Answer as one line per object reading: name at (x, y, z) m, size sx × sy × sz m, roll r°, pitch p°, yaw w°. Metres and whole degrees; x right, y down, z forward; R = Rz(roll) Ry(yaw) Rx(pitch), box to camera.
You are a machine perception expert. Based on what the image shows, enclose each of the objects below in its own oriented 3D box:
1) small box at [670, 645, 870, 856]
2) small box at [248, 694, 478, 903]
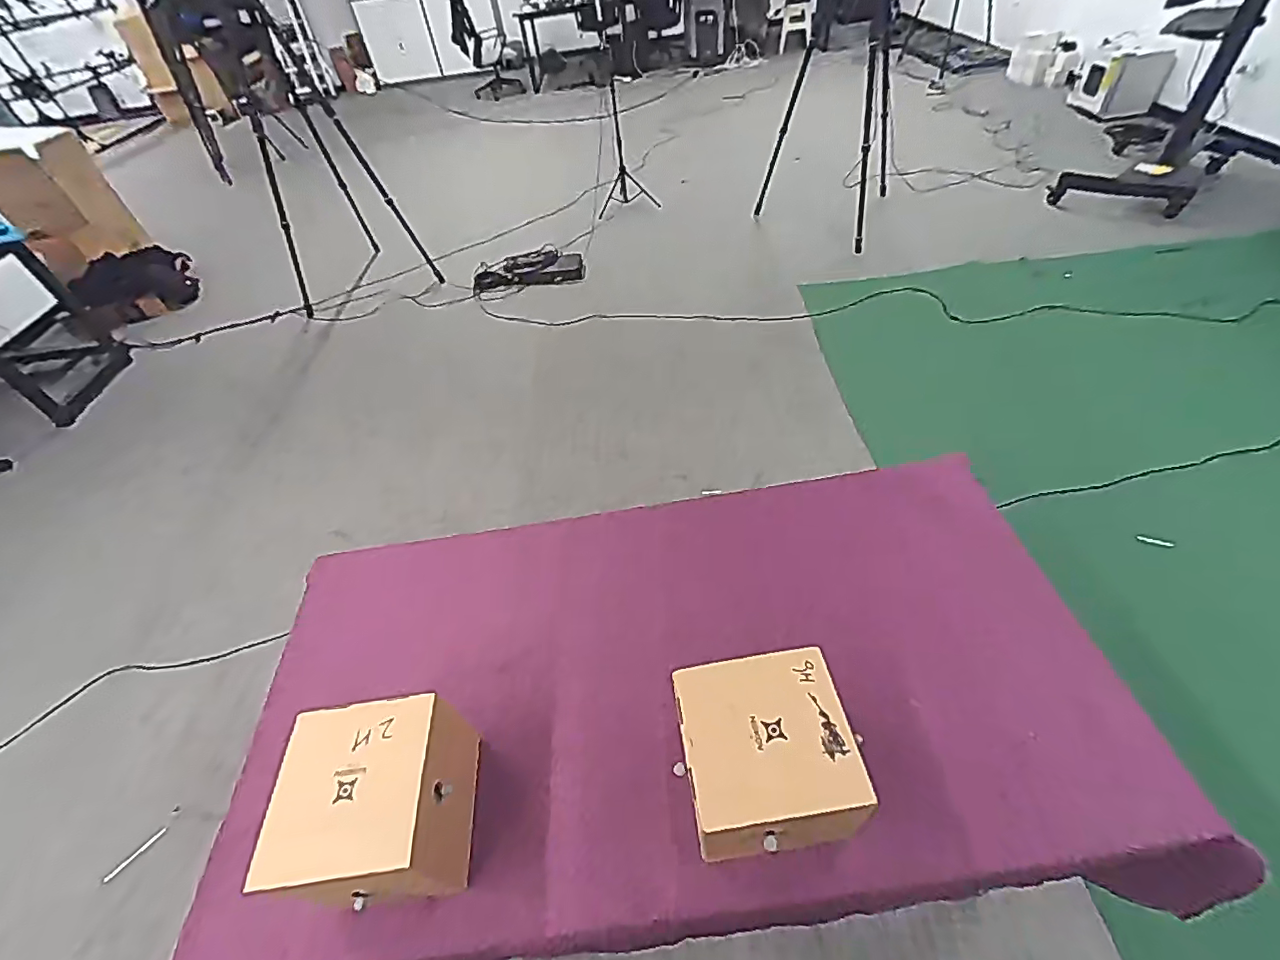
small box at (0.140, 0.318, 0.630) m, size 0.179 × 0.176 × 0.168 m, roll -10°, pitch 47°, yaw 1°
small box at (-0.303, 0.381, 0.641) m, size 0.168 × 0.176 × 0.179 m, roll -9°, pitch 46°, yaw 0°
